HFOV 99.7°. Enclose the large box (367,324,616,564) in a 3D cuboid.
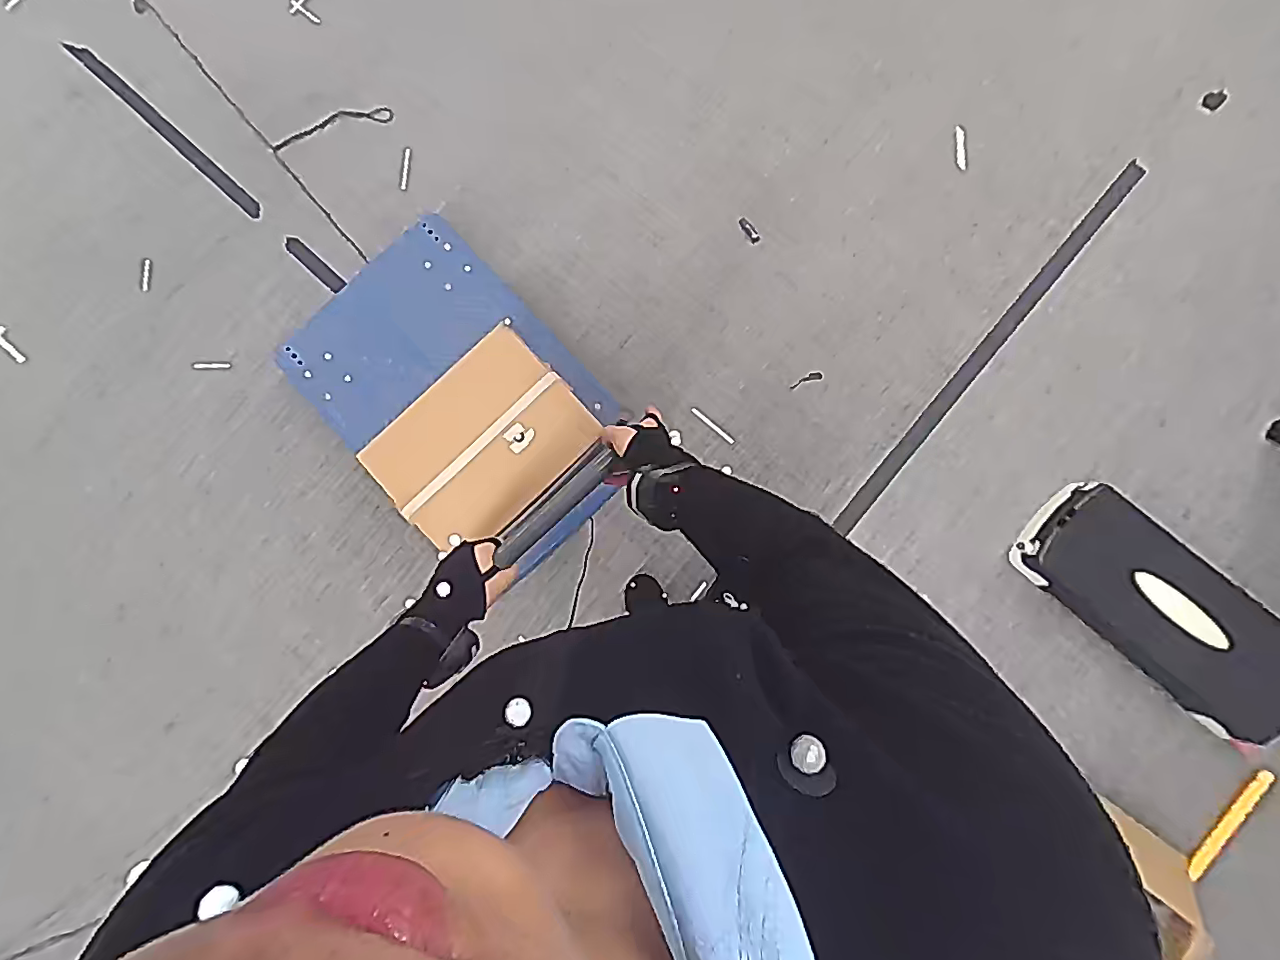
[{"bbox_3d":[-0.308,-0.063,1.234,0.408,0.320,0.320,-43,87,-2],"label":"large box"}]
